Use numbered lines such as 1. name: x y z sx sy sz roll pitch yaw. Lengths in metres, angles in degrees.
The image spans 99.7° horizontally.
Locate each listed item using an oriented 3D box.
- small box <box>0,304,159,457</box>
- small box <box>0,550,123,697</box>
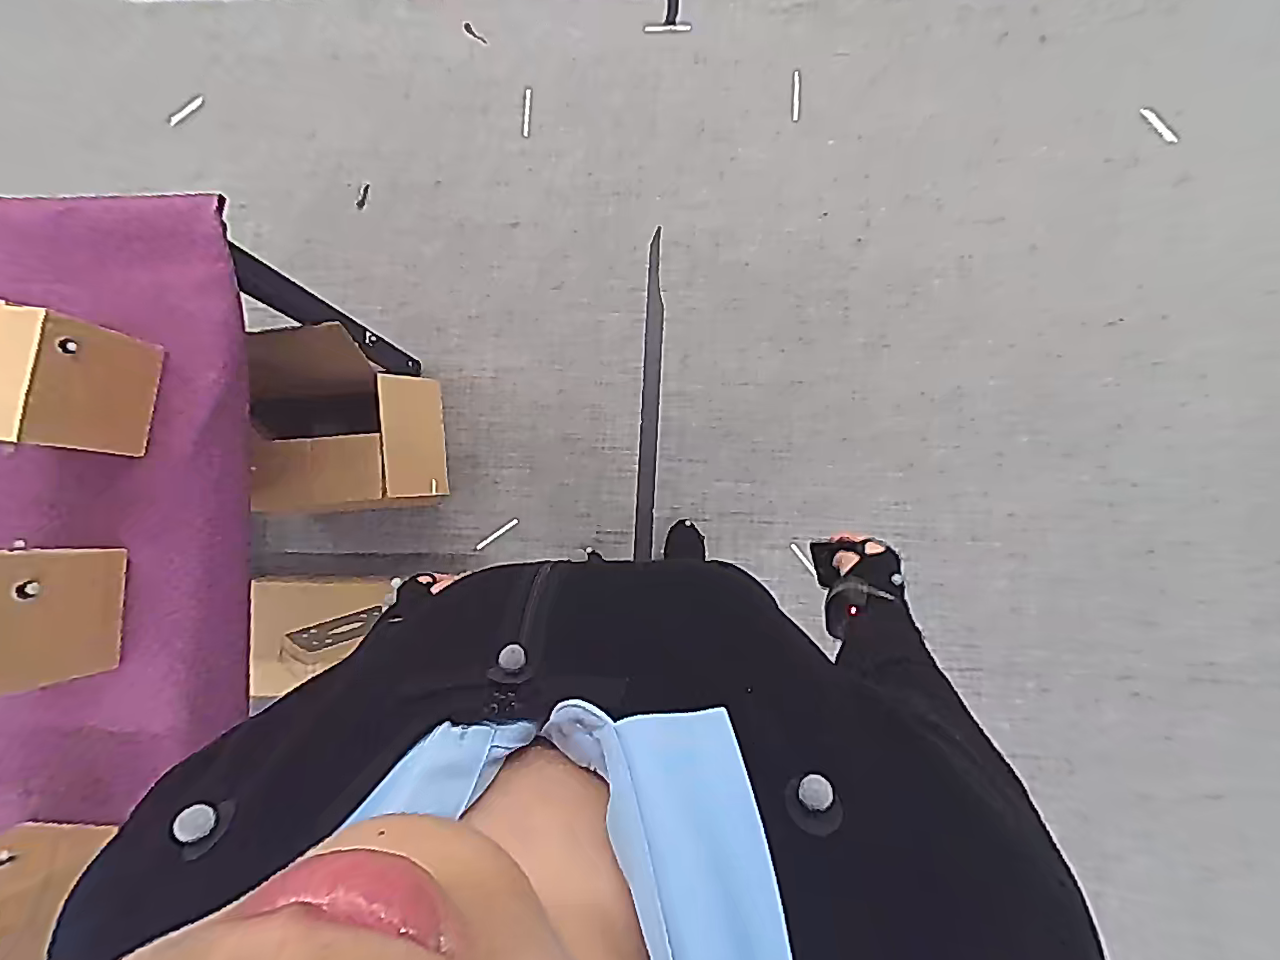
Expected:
1. small box: -0.829 -0.132 0.753 0.168 0.176 0.179 7 85 4
2. small box: -0.853 0.184 0.725 0.168 0.176 0.179 -1 85 5
